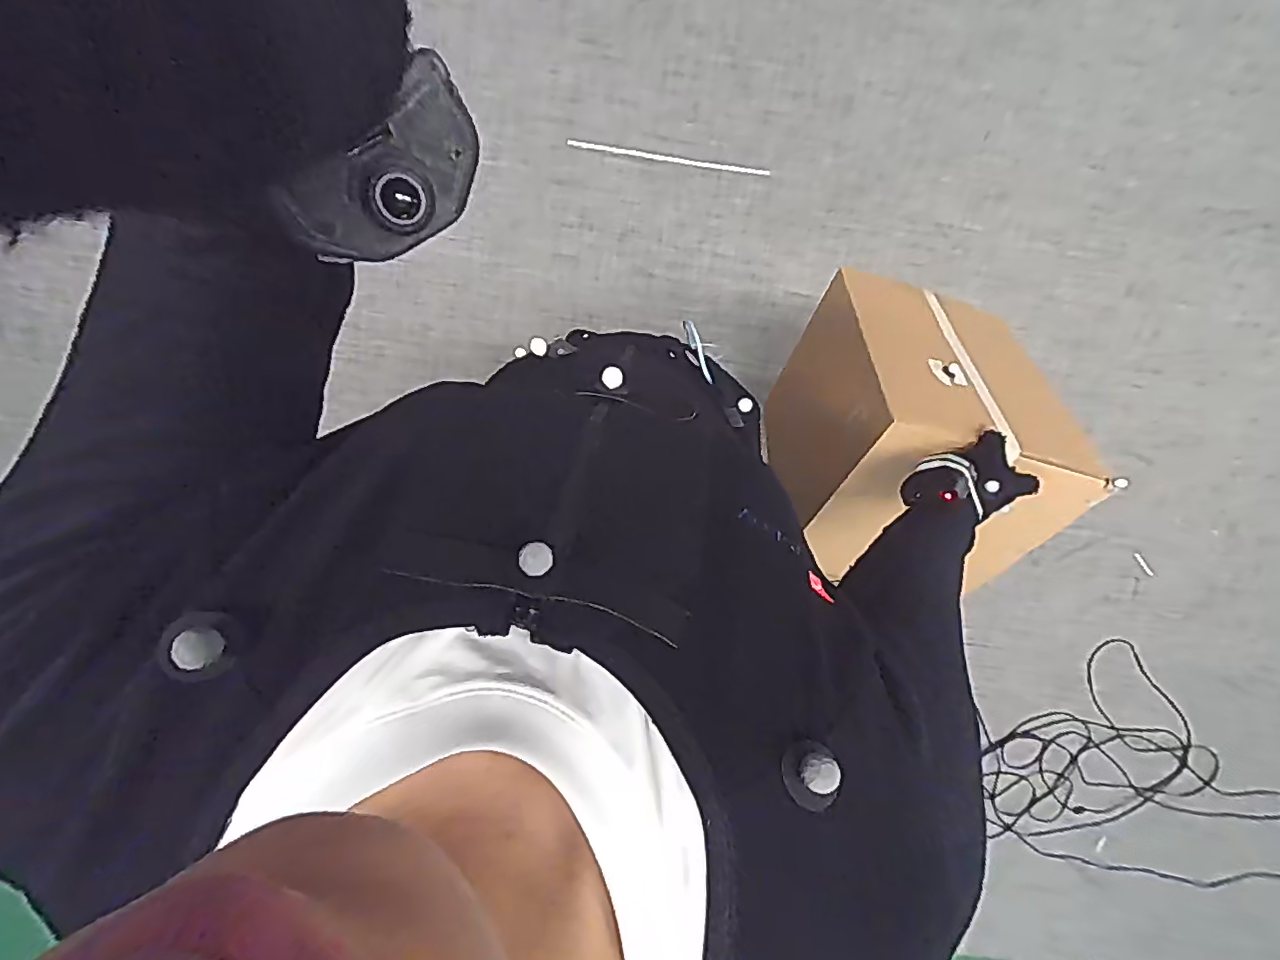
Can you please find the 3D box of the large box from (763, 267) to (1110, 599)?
[{"bbox_3d":[0.418,-0.077,0.892,0.320,0.408,0.320,14,137,-7],"label":"large box"}]
